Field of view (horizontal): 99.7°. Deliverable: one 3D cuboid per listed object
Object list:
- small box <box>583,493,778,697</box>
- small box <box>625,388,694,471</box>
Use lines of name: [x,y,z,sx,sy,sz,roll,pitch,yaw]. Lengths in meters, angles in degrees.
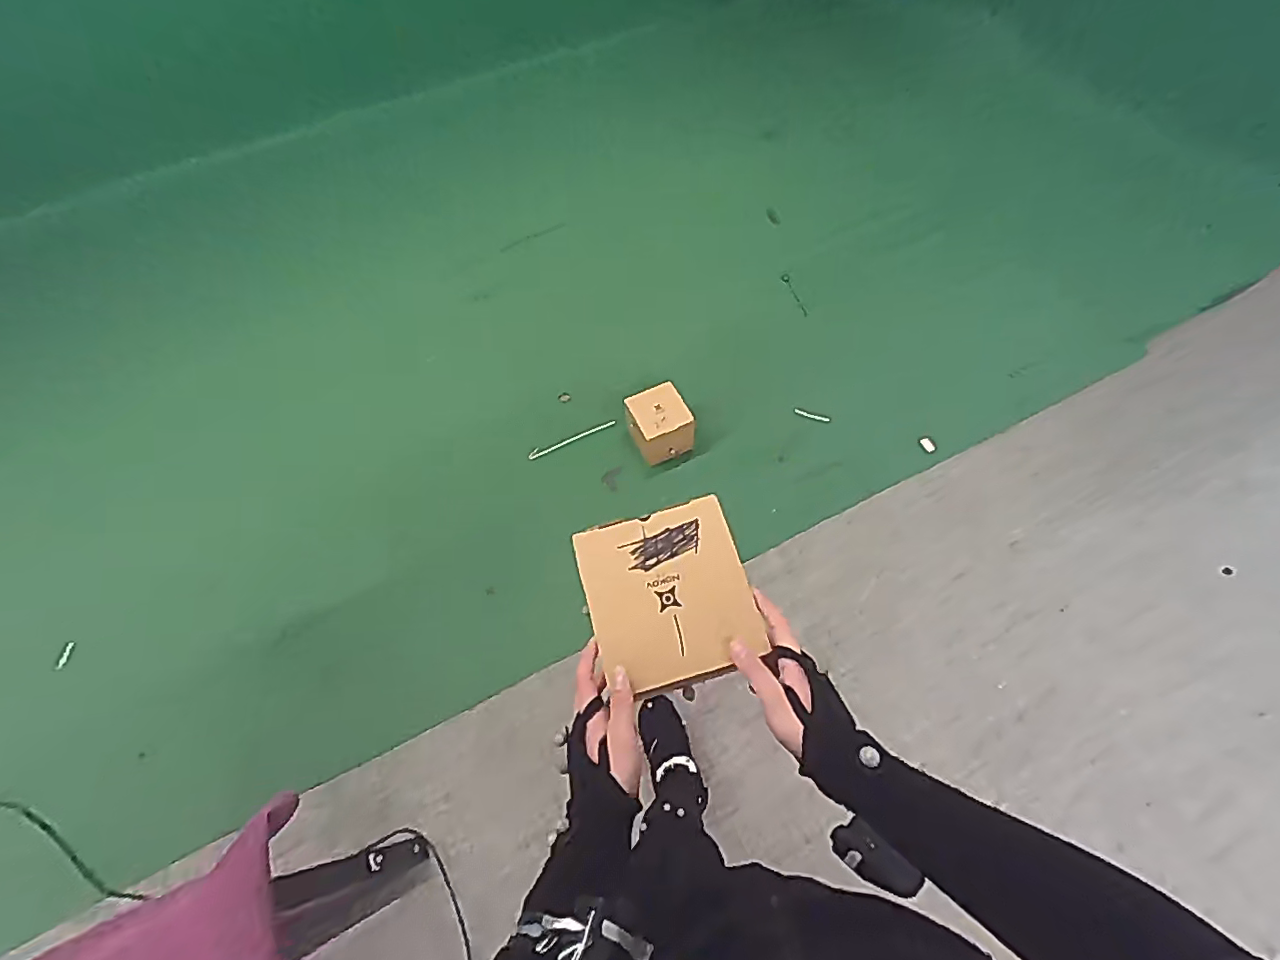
small box: [0.039,0.140,0.625,0.168,0.176,0.179,-15,67,-2]
small box: [0.061,-0.161,1.760,0.168,0.176,0.179,-23,63,-10]
